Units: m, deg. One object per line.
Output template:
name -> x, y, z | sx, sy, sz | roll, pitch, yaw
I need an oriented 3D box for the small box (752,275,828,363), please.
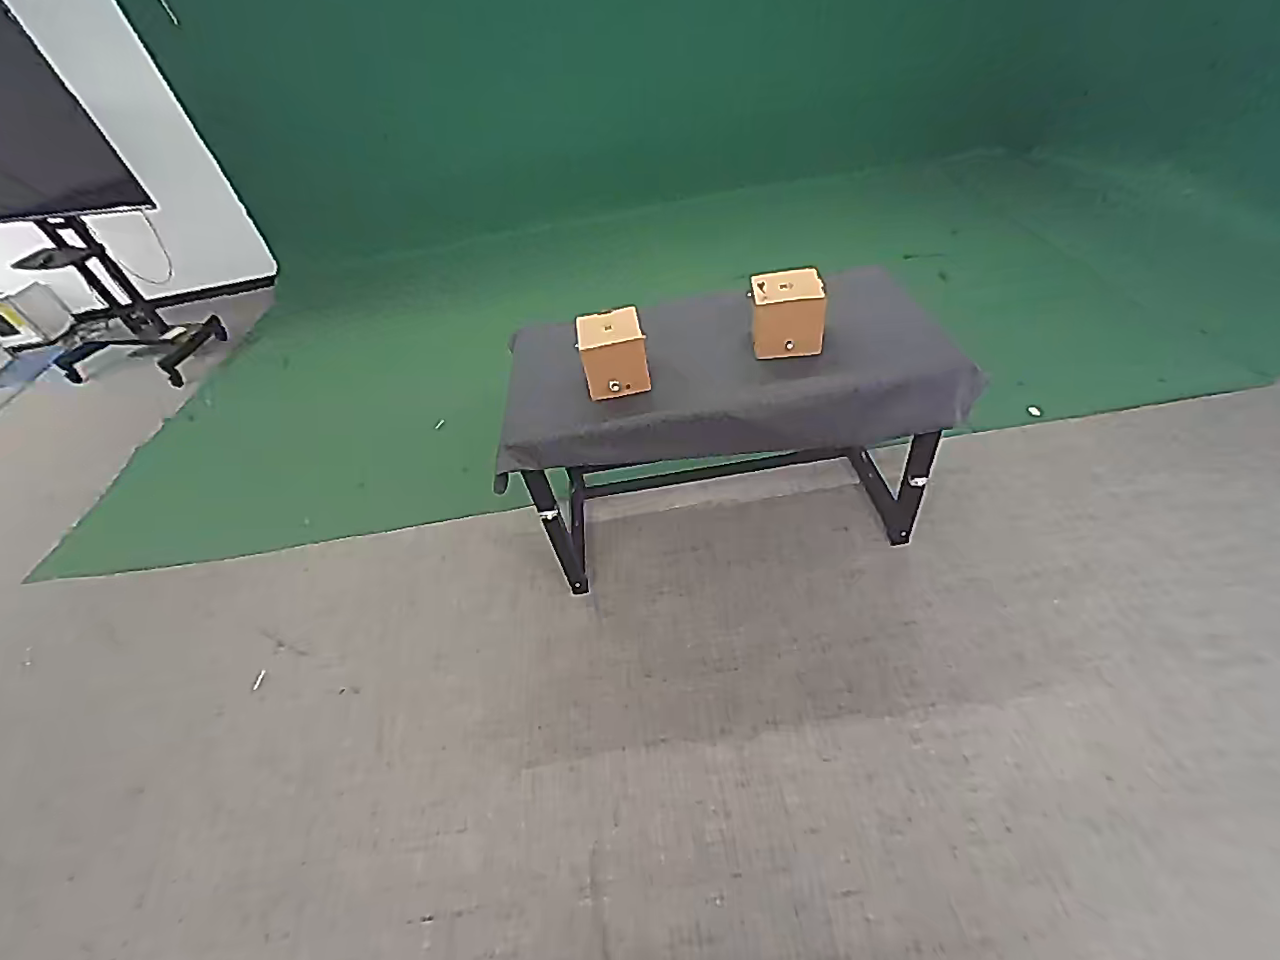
small box -> 0.405, -0.440, 1.486 | 0.179, 0.176, 0.168 | -3, 45, 8

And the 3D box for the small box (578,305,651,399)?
small box -> -0.069, -0.345, 1.465 | 0.168, 0.176, 0.179 | -11, 44, 3
